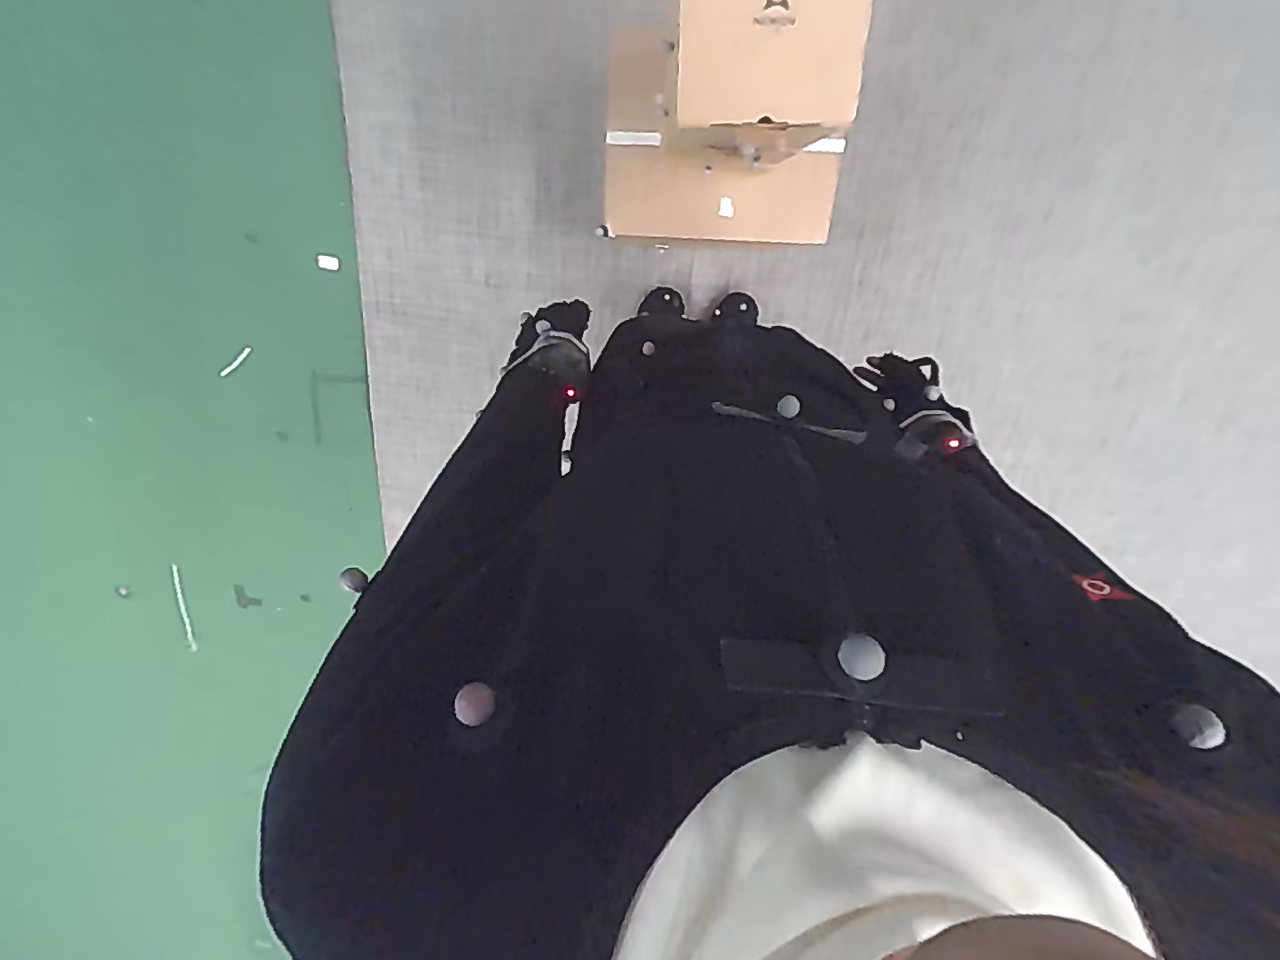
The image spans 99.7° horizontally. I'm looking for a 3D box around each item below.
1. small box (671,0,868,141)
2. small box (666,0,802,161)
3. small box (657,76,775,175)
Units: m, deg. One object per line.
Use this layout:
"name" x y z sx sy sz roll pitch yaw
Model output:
"small box" 0.117 -0.445 0.538 0.168 0.176 0.179 0 117 1
"small box" 0.119 -0.514 0.687 0.168 0.176 0.179 2 115 0
"small box" 0.125 -0.579 0.832 0.179 0.176 0.168 9 115 -2
